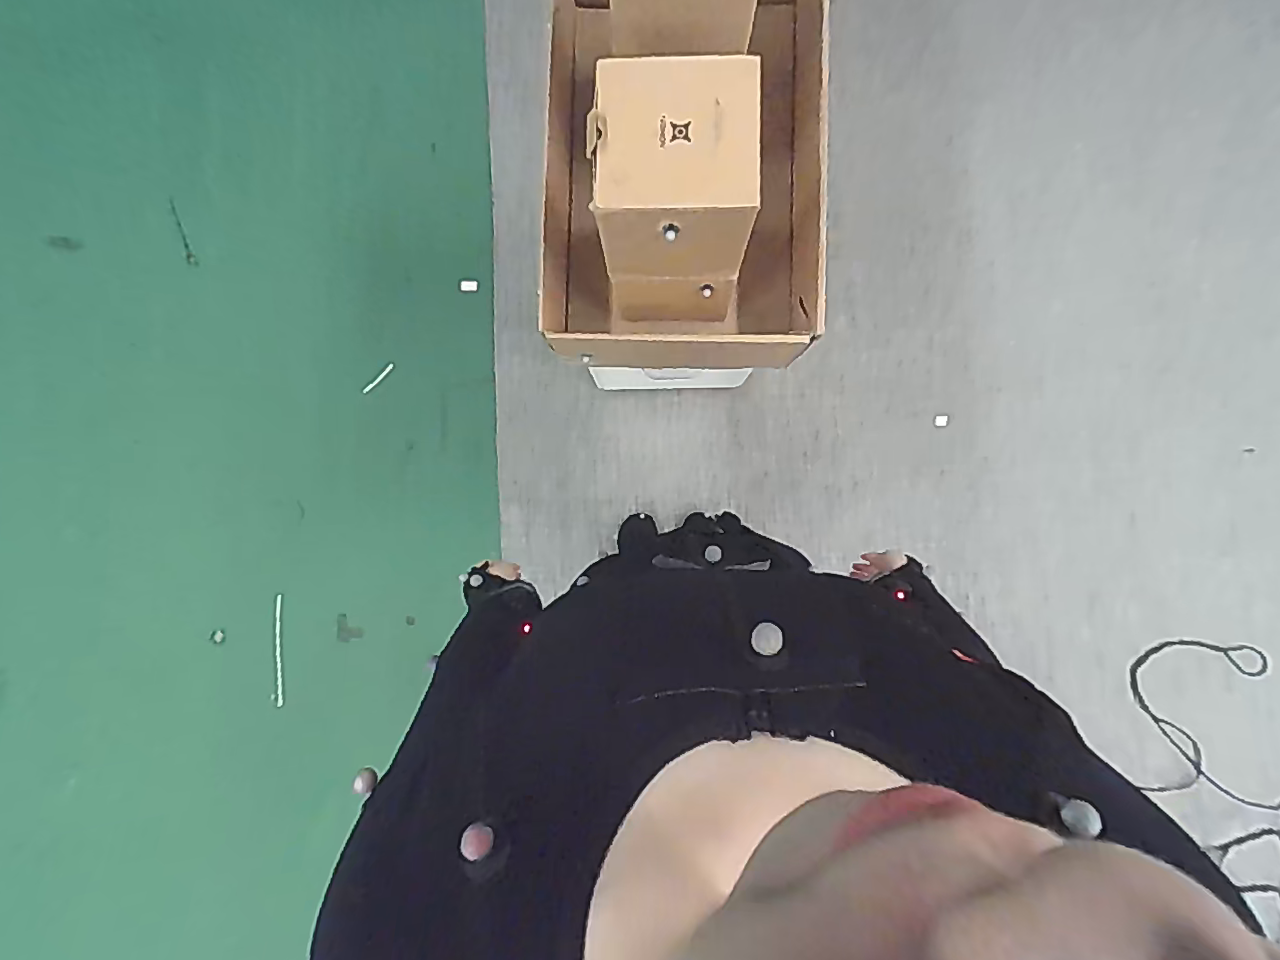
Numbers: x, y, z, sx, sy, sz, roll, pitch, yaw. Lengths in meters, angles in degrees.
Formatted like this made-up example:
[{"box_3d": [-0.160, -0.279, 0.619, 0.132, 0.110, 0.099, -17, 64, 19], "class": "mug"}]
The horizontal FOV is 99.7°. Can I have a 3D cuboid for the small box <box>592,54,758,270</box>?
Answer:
[{"box_3d": [0.040, -0.366, 0.651, 0.179, 0.176, 0.168, 0, 88, 1], "class": "small box"}]
